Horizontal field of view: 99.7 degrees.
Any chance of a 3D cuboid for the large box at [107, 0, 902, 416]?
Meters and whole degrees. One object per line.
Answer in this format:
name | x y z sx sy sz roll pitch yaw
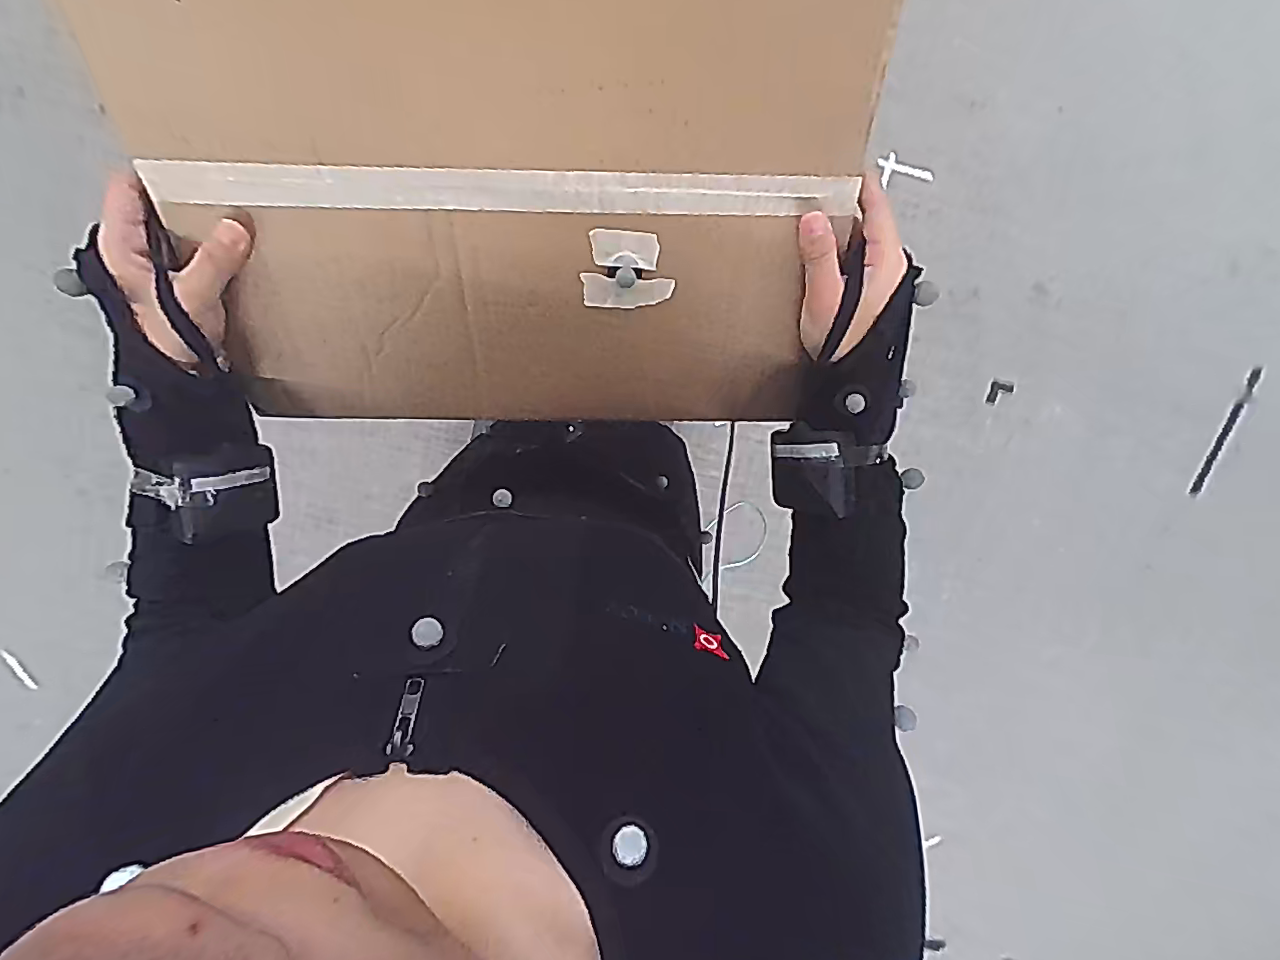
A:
large box | -0.075 -0.262 0.442 0.408 0.320 0.320 0 129 -4
